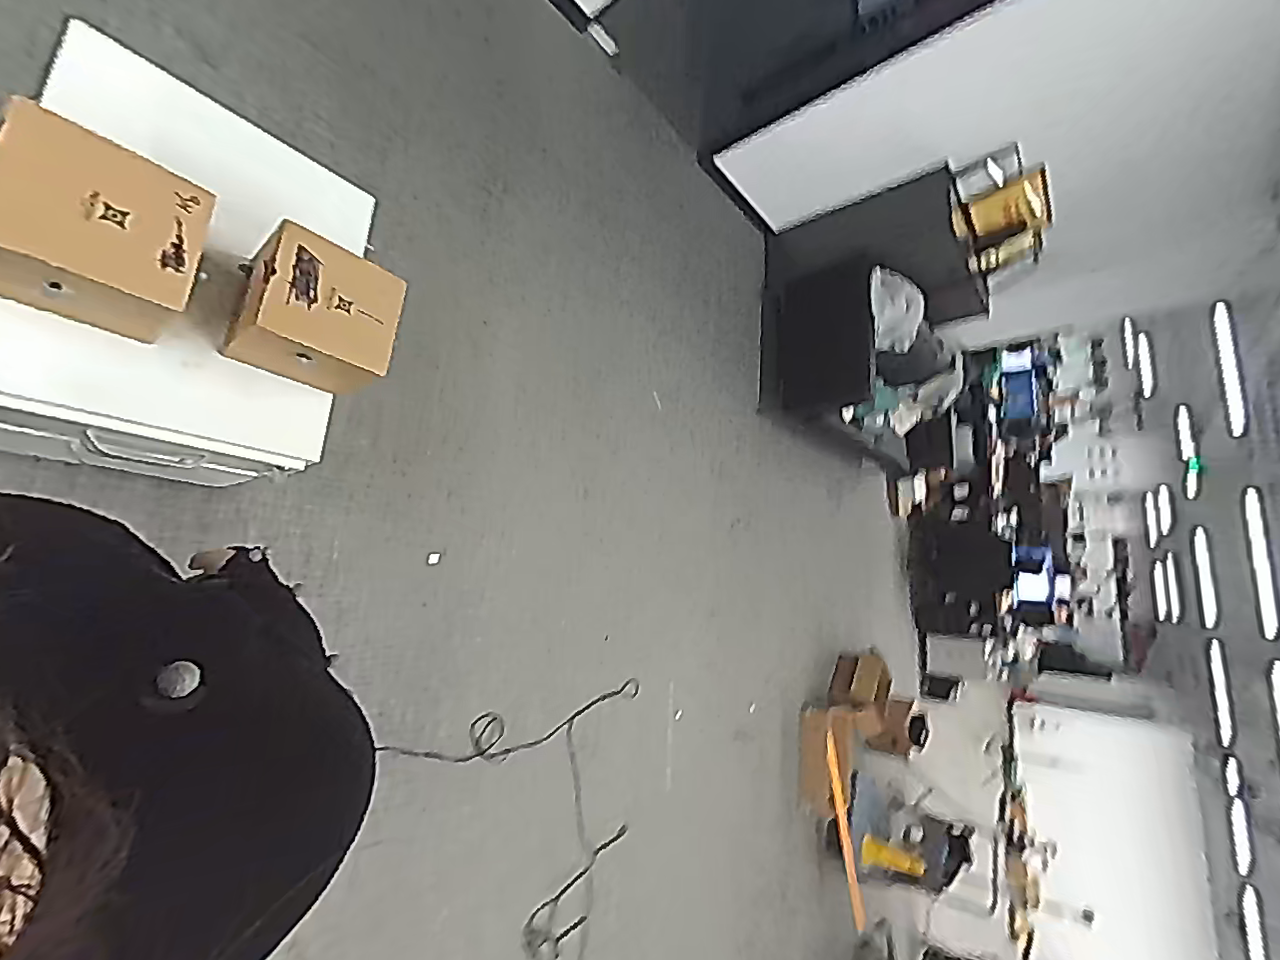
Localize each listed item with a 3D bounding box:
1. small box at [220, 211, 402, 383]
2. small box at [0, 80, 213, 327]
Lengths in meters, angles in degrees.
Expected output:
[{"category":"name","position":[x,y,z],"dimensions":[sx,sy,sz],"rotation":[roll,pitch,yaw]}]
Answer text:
[{"category":"small box","position":[-0.503,-0.262,0.827],"dimensions":[0.179,0.176,0.168],"rotation":[22,69,-48]},{"category":"small box","position":[-0.656,-0.303,0.641],"dimensions":[0.179,0.176,0.168],"rotation":[20,71,-49]}]
